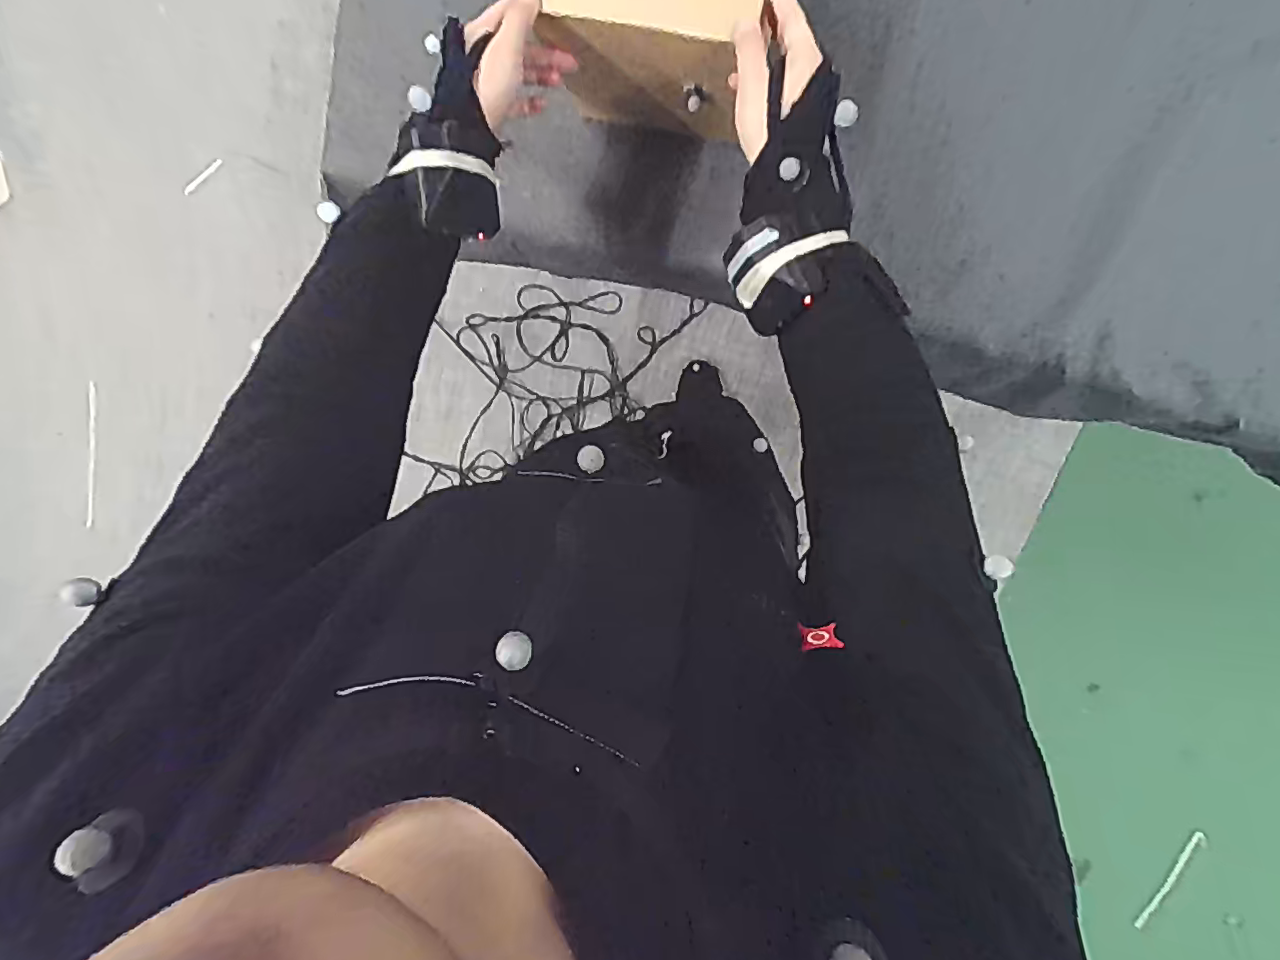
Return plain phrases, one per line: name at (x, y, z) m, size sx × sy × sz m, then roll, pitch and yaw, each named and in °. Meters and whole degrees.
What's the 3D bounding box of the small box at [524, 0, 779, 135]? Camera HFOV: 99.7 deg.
small box at (0.027, -0.417, 0.448) m, size 0.179 × 0.176 × 0.168 m, roll 14°, pitch 101°, yaw 7°
